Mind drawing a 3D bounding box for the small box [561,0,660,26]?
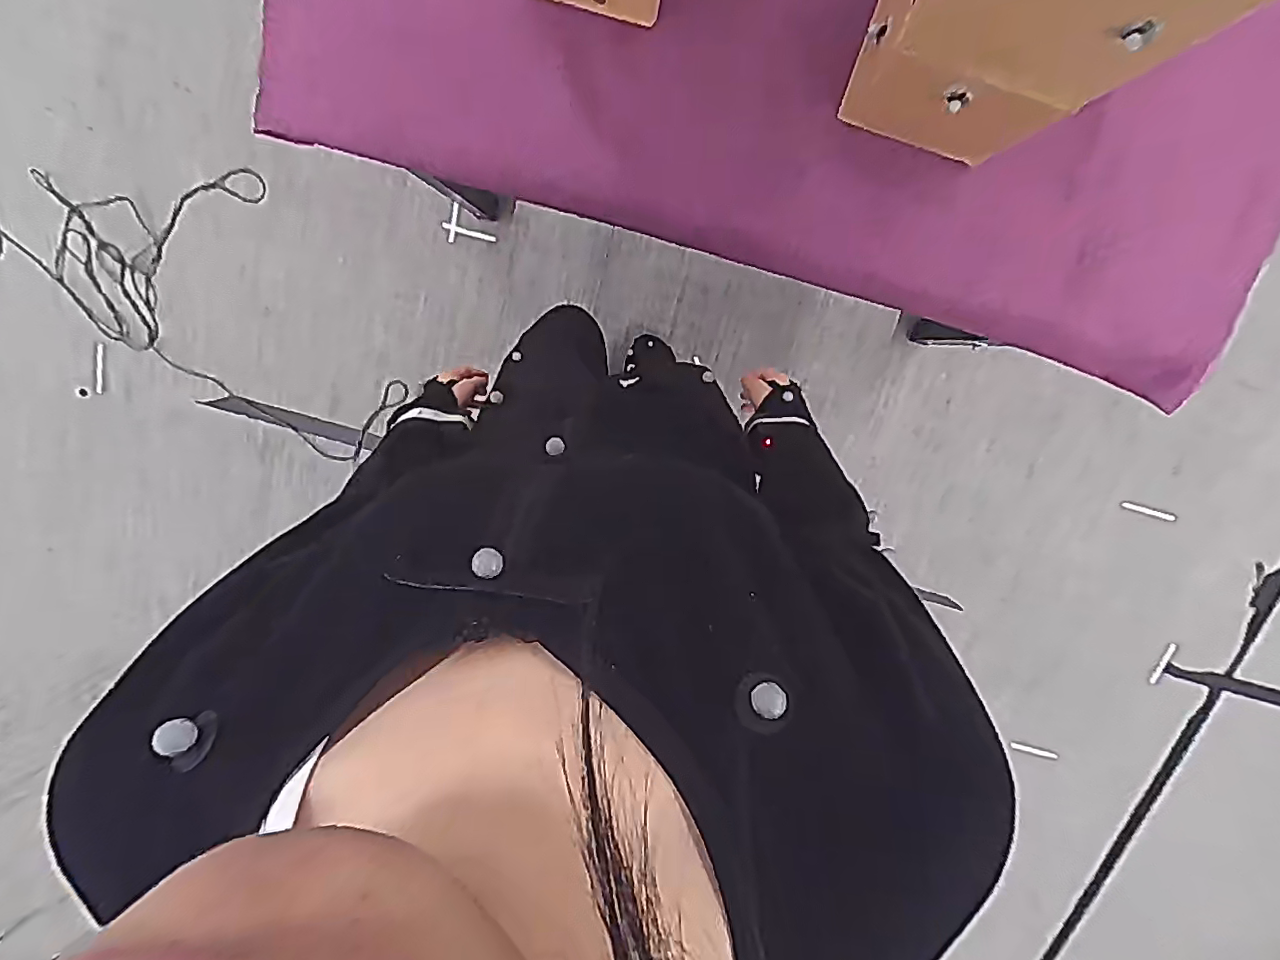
[{"bbox_3d":[-0.046,-0.588,0.513,0.168,0.176,0.179,14,104,-2],"label":"small box"}]

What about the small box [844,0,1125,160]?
[{"bbox_3d":[0.332,-0.449,0.536,0.179,0.176,0.168,17,105,-3],"label":"small box"}]
